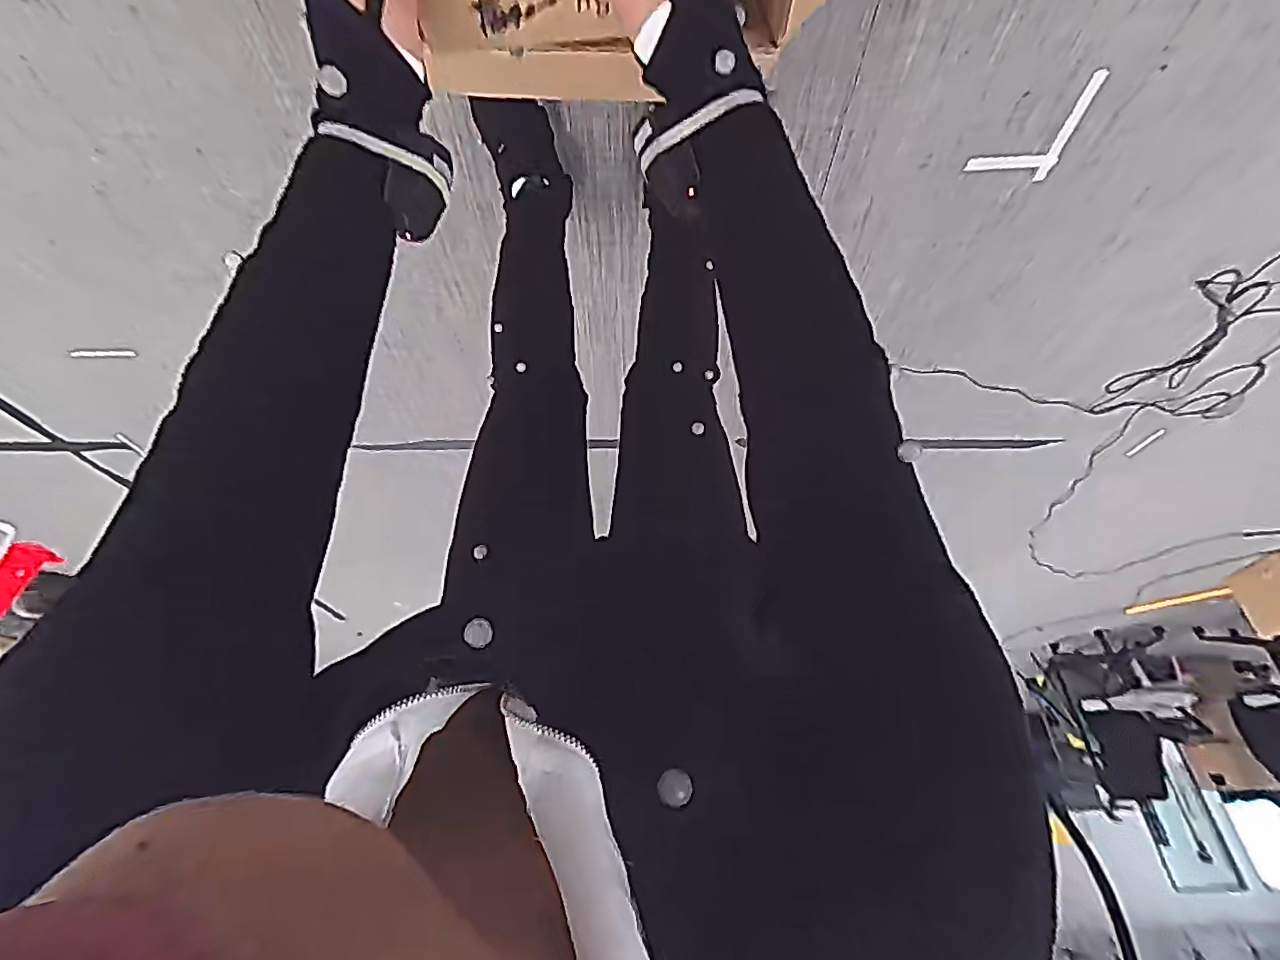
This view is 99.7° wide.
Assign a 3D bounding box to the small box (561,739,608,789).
[{"bbox_3d":[-0.213,1.116,2.124,0.179,0.176,0.168,1,149,-2],"label":"small box"}]

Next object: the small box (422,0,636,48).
[{"bbox_3d":[-0.090,-0.470,0.409,0.168,0.176,0.179,-1,148,5],"label":"small box"}]
